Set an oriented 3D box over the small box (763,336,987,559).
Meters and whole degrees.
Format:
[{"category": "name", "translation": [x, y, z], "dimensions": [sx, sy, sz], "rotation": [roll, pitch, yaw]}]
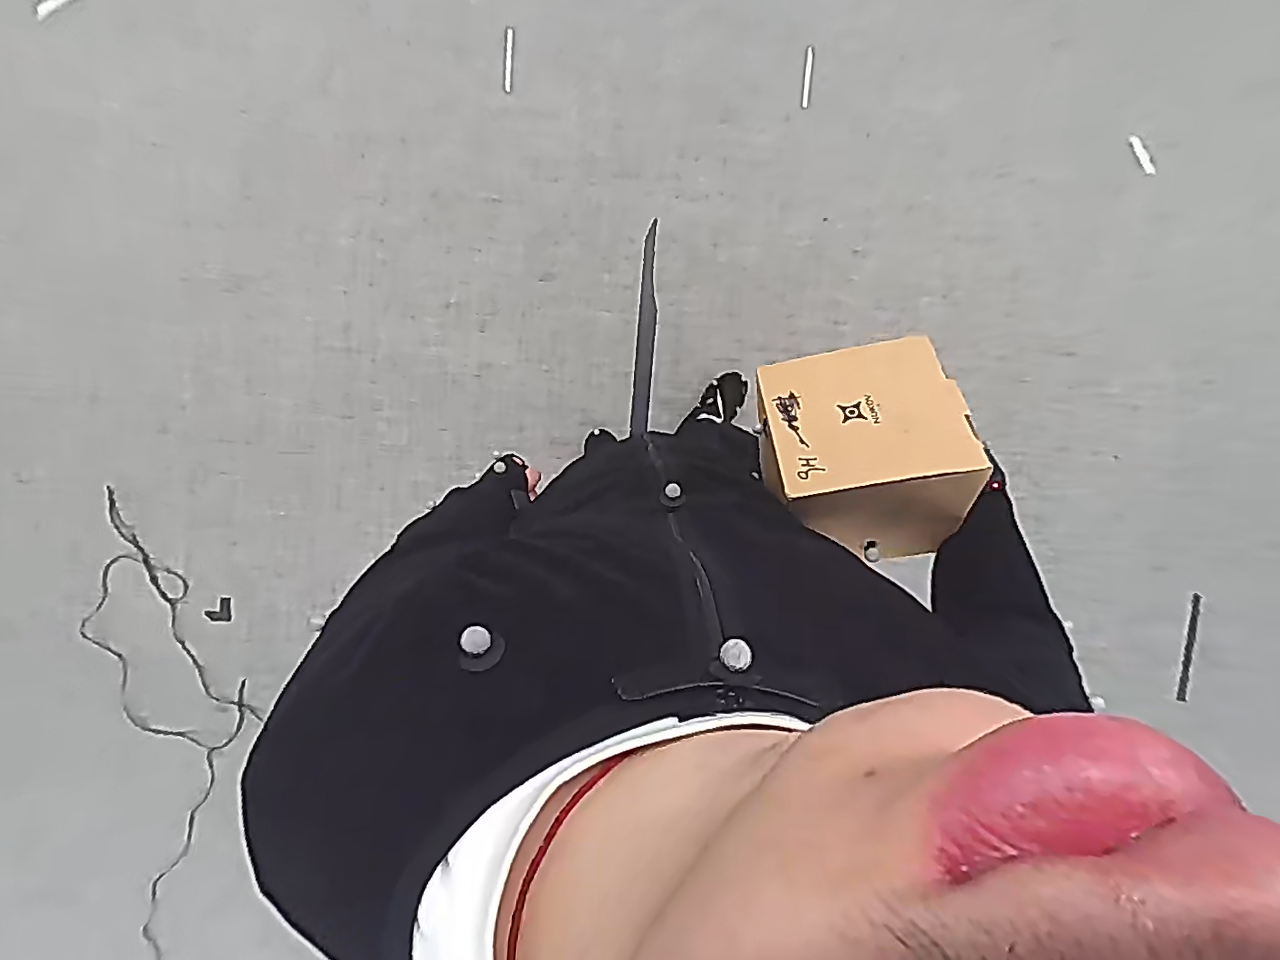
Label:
[{"category": "small box", "translation": [0.235, -0.027, 0.596], "dimensions": [0.179, 0.176, 0.168], "rotation": [-9, 55, 9]}]
